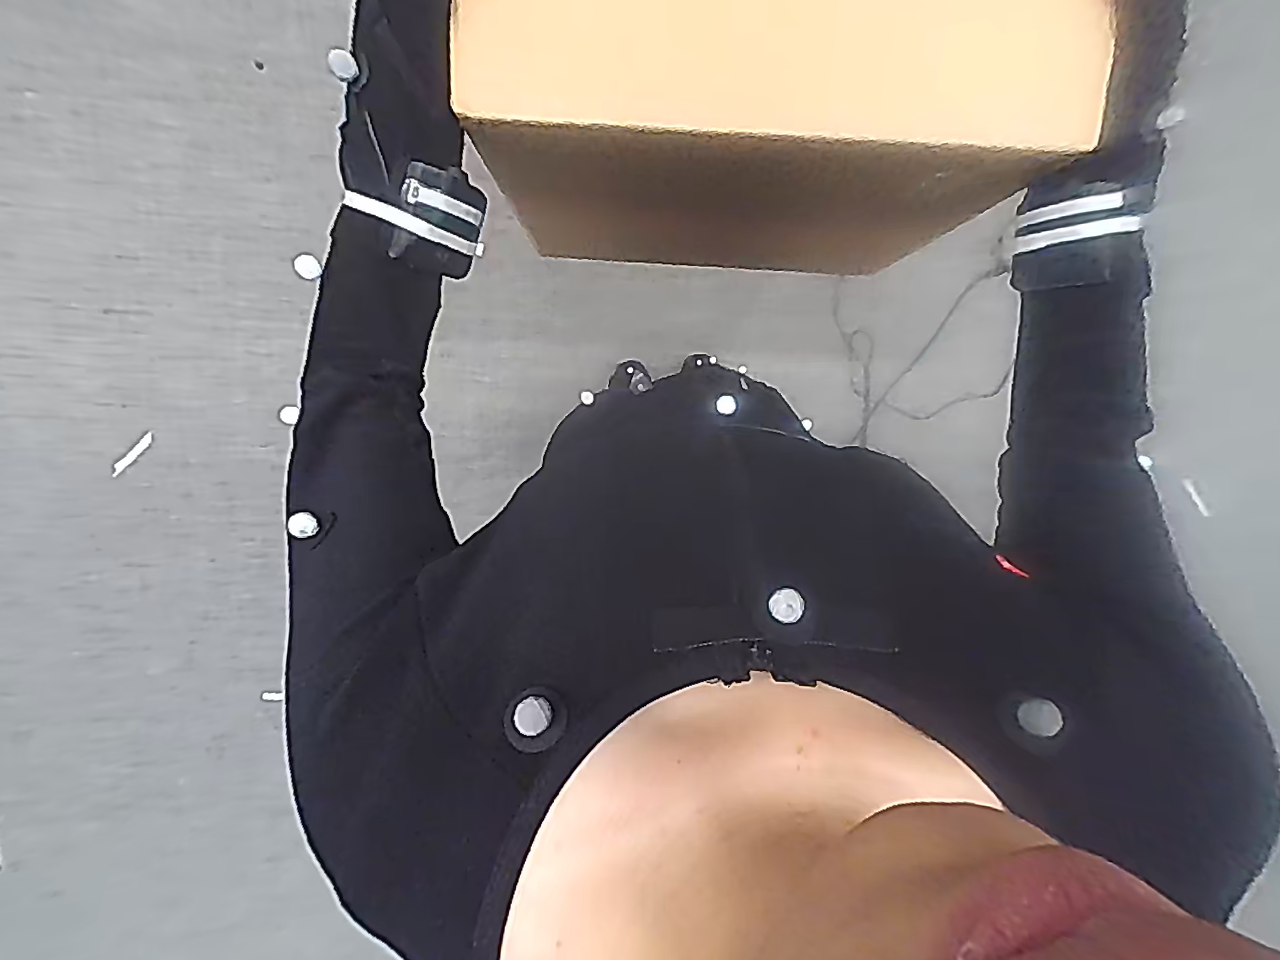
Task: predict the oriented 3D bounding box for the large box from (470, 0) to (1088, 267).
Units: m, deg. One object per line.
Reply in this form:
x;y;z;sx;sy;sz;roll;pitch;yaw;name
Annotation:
0.087;-0.395;0.485;0.408;0.320;0.320;2;97;-1;large box
